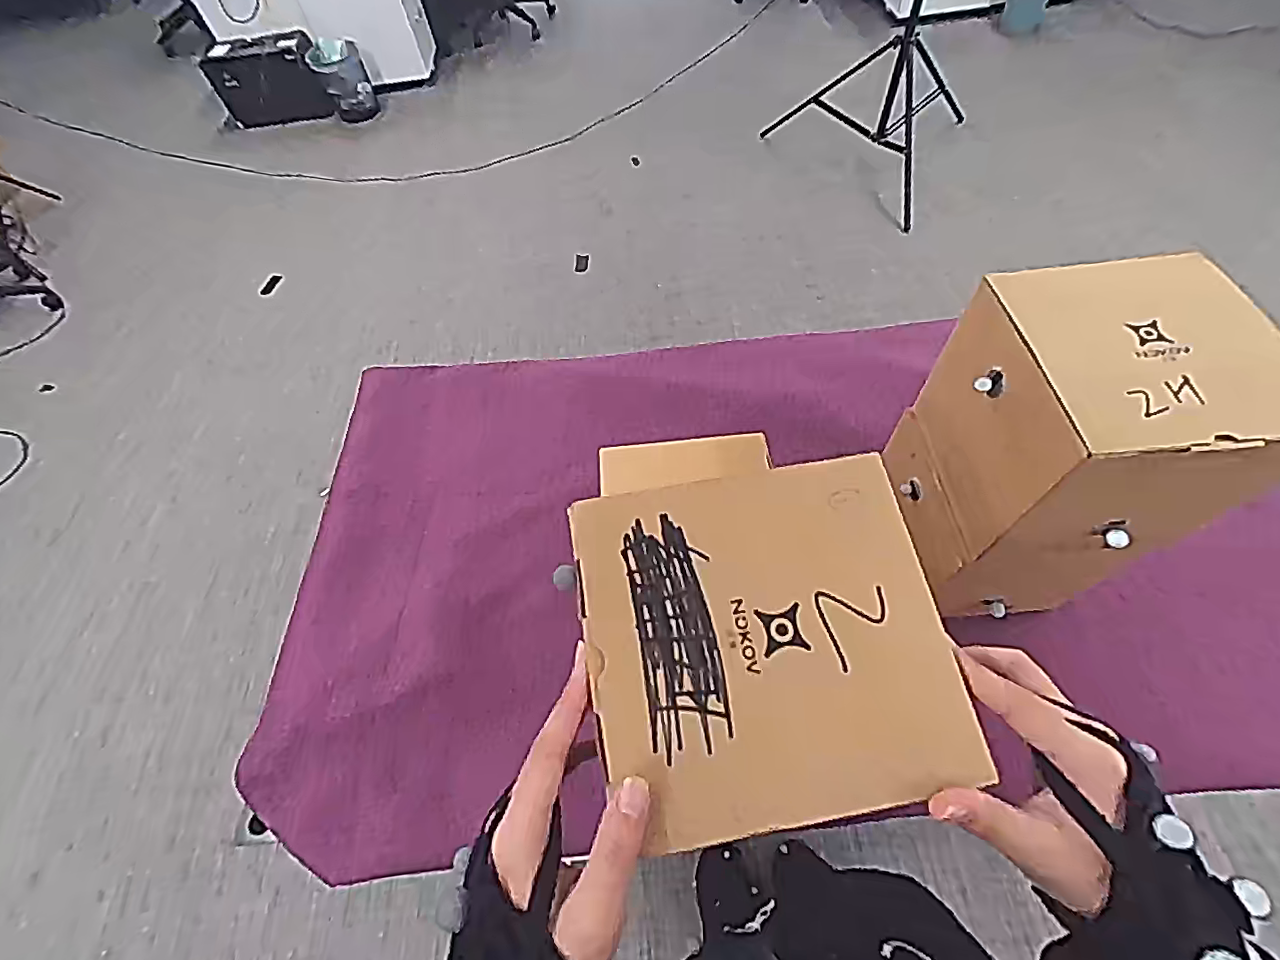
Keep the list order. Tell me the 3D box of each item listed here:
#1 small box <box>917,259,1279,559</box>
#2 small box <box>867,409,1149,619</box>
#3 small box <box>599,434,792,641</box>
[{"bbox_3d":[0.358,-0.052,0.448,0.168,0.176,0.179,-5,58,3],"label":"small box"},{"bbox_3d":[0.367,0.036,0.587,0.168,0.176,0.179,-5,58,3],"label":"small box"},{"bbox_3d":[0.054,0.071,0.596,0.179,0.176,0.168,-5,58,1],"label":"small box"}]
